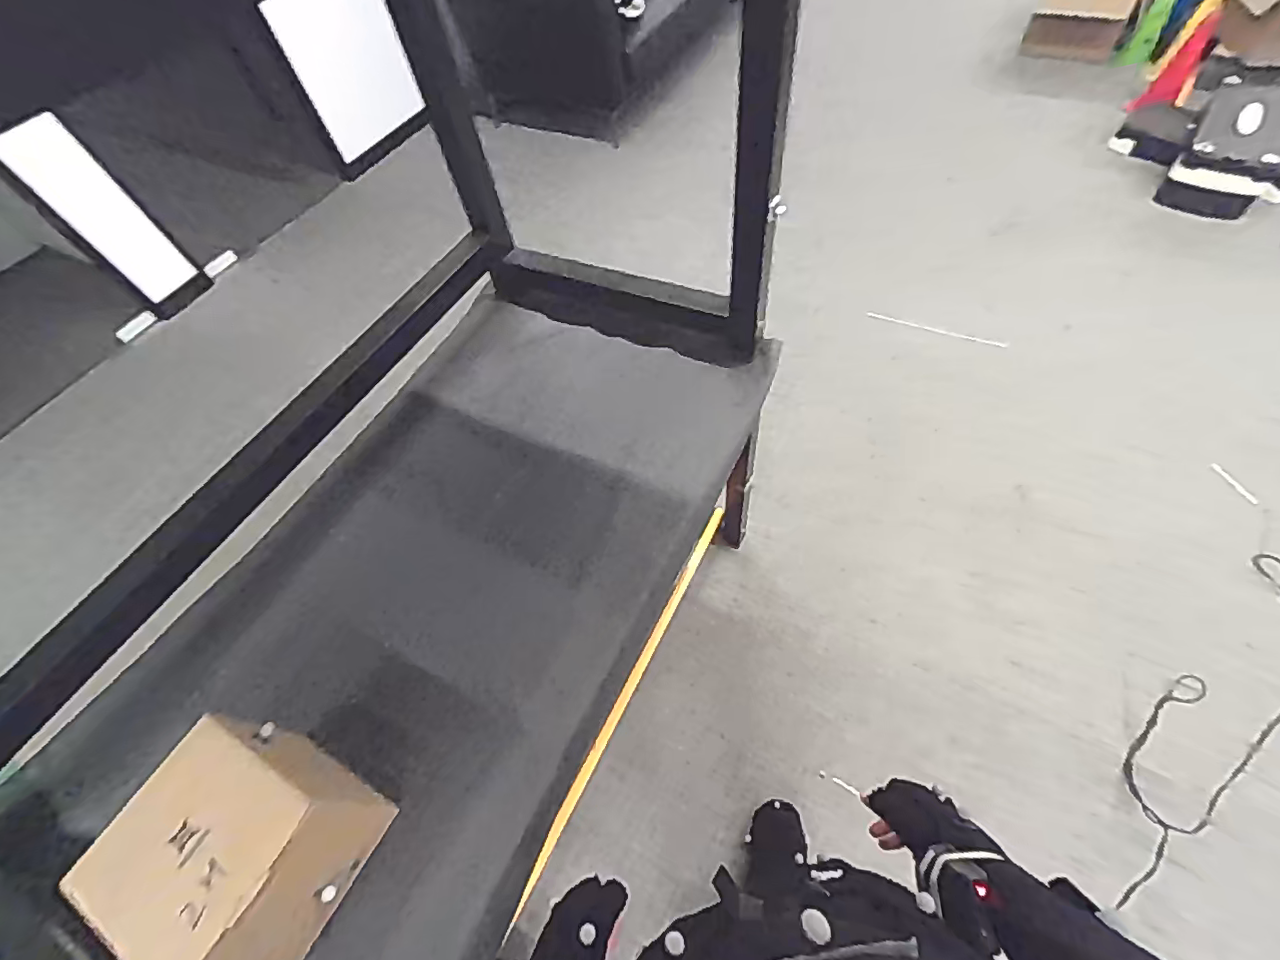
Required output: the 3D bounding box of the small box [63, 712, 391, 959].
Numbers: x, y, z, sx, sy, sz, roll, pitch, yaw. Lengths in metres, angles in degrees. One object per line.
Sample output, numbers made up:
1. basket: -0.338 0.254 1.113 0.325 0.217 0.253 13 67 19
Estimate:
1. small box: -0.411 0.377 0.569 0.179 0.176 0.168 21 63 20
